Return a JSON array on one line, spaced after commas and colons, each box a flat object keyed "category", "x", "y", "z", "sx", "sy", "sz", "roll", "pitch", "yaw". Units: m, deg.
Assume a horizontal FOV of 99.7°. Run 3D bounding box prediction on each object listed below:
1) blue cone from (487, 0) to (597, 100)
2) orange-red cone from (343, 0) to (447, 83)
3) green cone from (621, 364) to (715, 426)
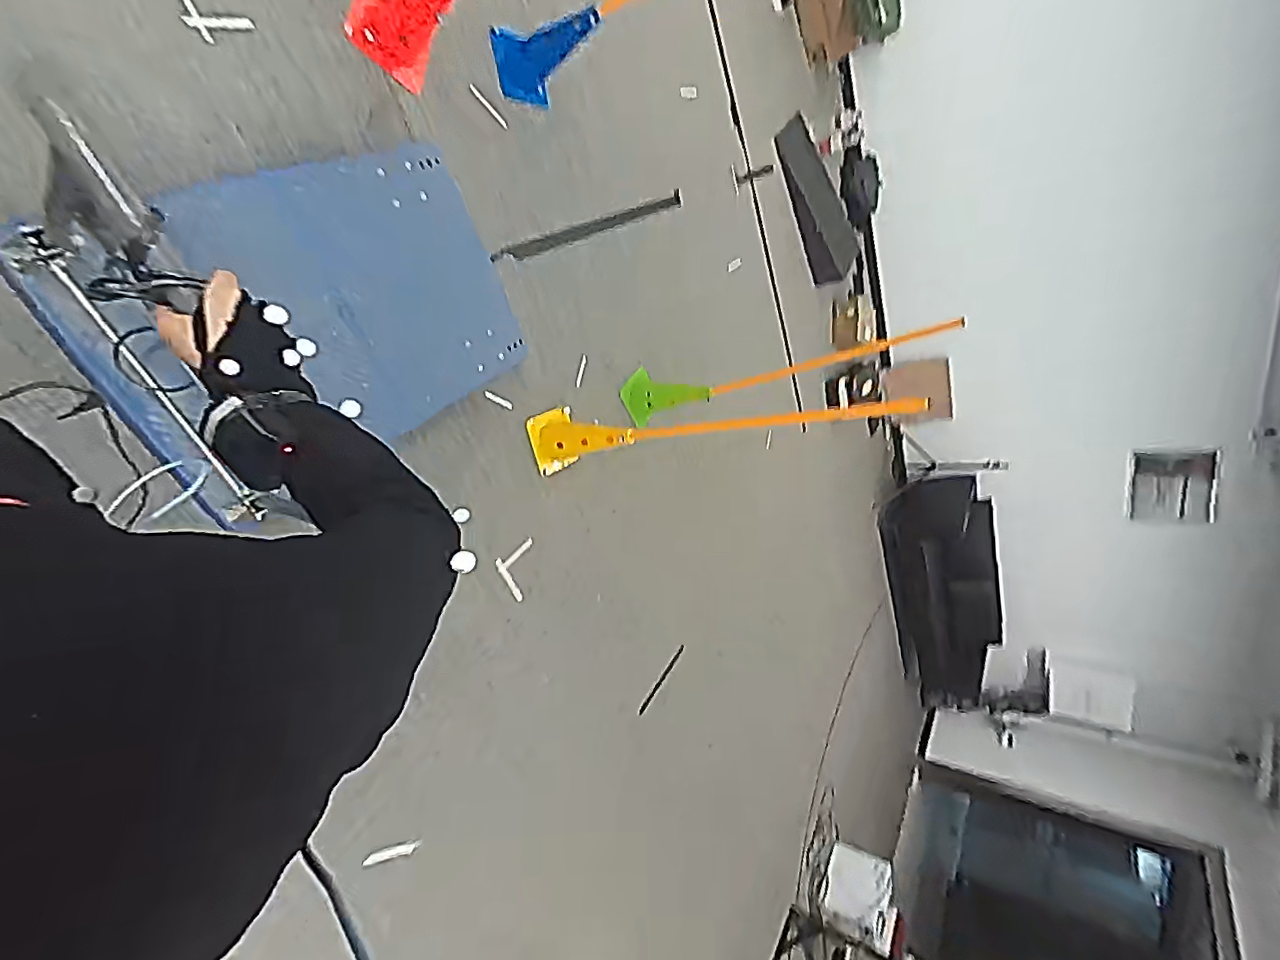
[{"category": "blue cone", "x": -0.268, "y": -1.332, "z": 1.629, "sx": 0.192, "sy": 0.380, "sz": 0.193, "roll": -25, "pitch": 110, "yaw": -47}, {"category": "orange-red cone", "x": -0.517, "y": -1.171, "z": 1.299, "sx": 0.199, "sy": 0.360, "sz": 0.198, "roll": 22, "pitch": 75, "yaw": -51}, {"category": "green cone", "x": 0.137, "y": -0.349, "z": 2.143, "sx": 0.202, "sy": 0.368, "sz": 0.200, "roll": -57, "pitch": 131, "yaw": -32}]
